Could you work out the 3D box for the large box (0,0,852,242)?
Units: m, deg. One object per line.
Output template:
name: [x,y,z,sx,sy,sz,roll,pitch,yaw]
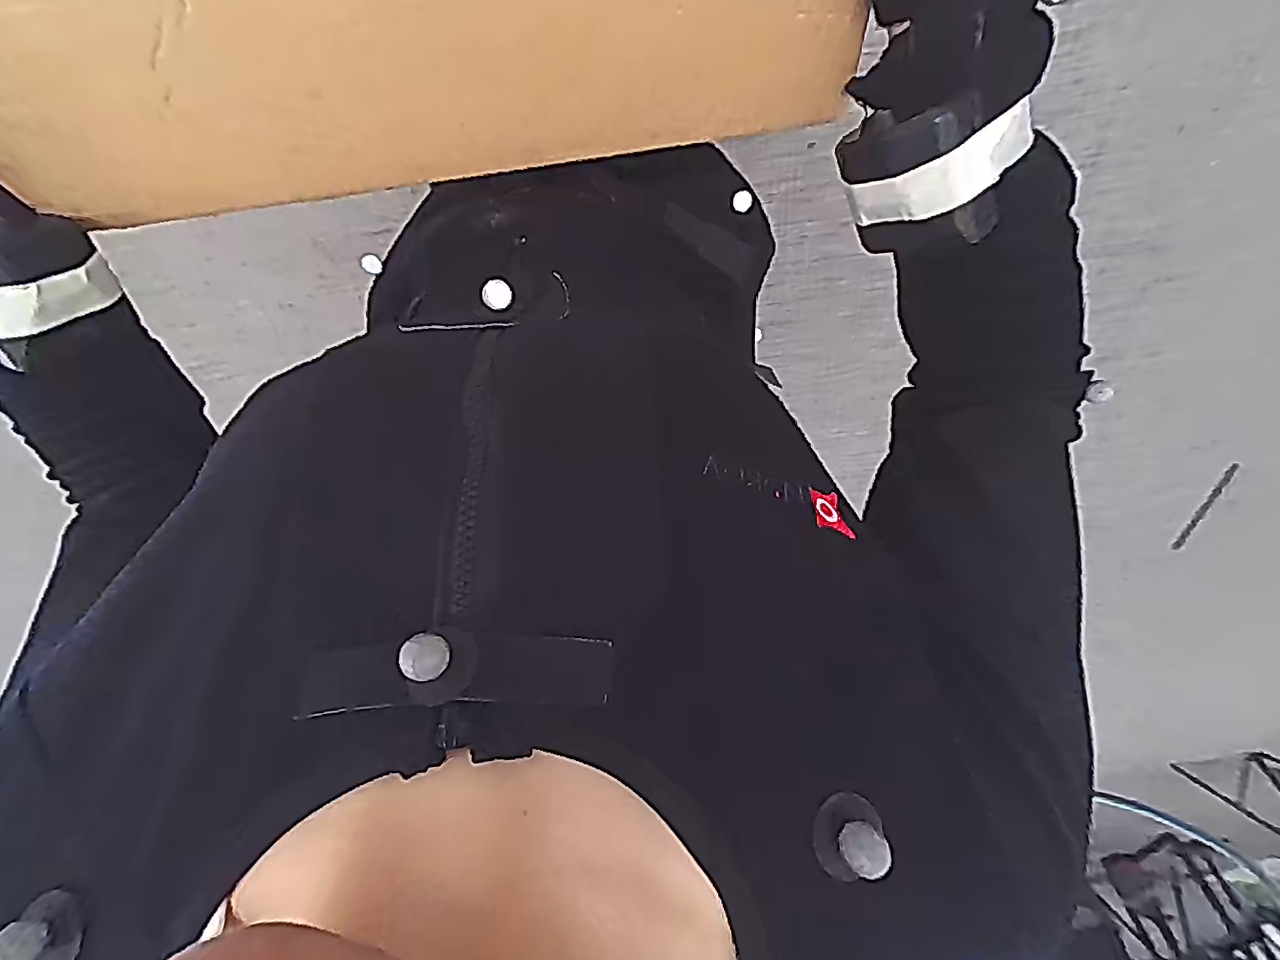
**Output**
large box: [-0.127,-0.359,0.222,0.408,0.320,0.320,-8,153,2]
